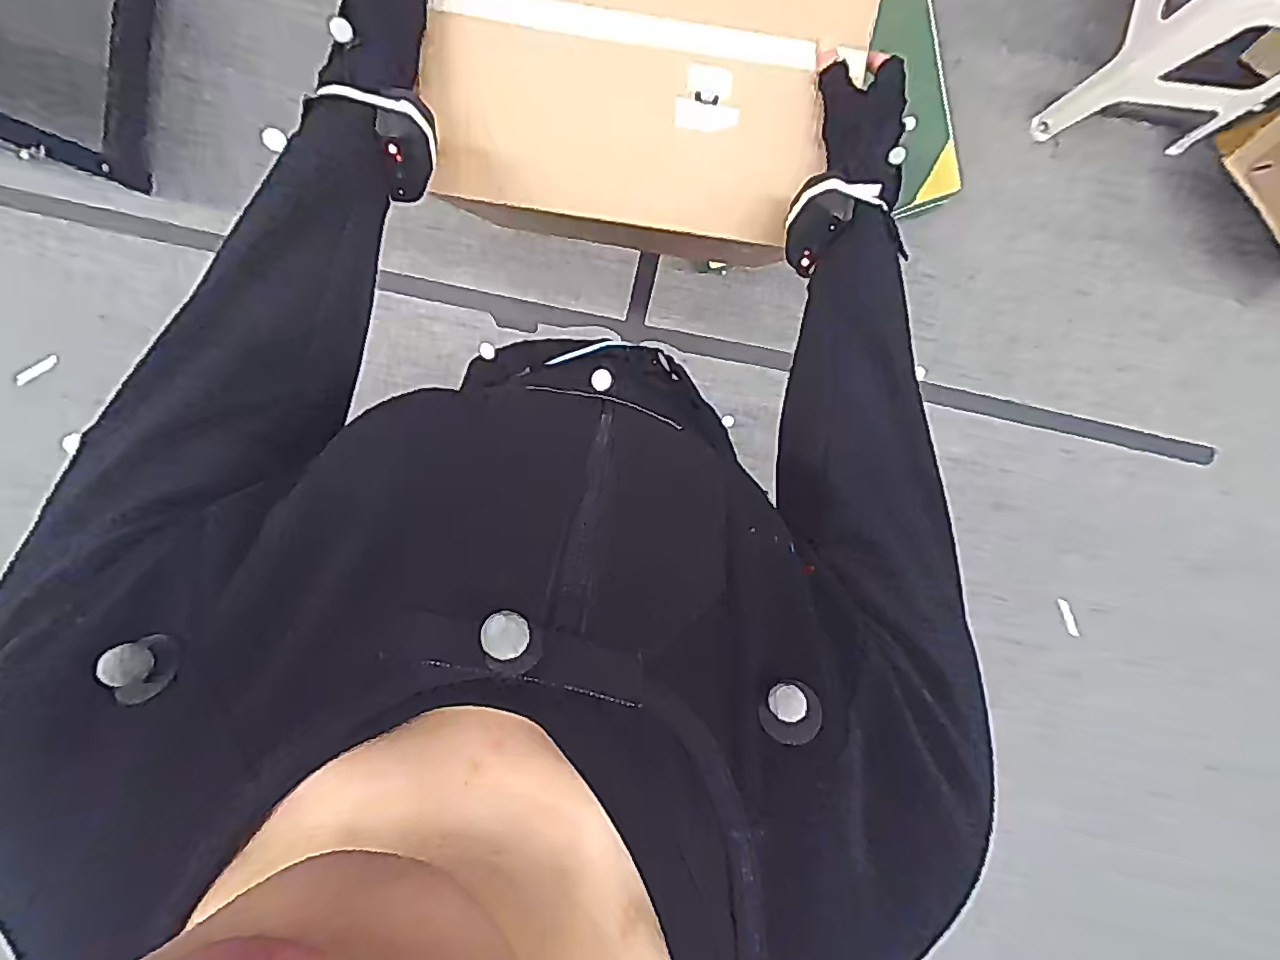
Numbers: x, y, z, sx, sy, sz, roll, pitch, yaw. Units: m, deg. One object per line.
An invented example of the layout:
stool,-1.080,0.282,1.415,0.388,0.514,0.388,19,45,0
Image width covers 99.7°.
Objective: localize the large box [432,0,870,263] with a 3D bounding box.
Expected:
large box,0.004,-0.454,0.644,0.408,0.320,0.320,7,110,-3
